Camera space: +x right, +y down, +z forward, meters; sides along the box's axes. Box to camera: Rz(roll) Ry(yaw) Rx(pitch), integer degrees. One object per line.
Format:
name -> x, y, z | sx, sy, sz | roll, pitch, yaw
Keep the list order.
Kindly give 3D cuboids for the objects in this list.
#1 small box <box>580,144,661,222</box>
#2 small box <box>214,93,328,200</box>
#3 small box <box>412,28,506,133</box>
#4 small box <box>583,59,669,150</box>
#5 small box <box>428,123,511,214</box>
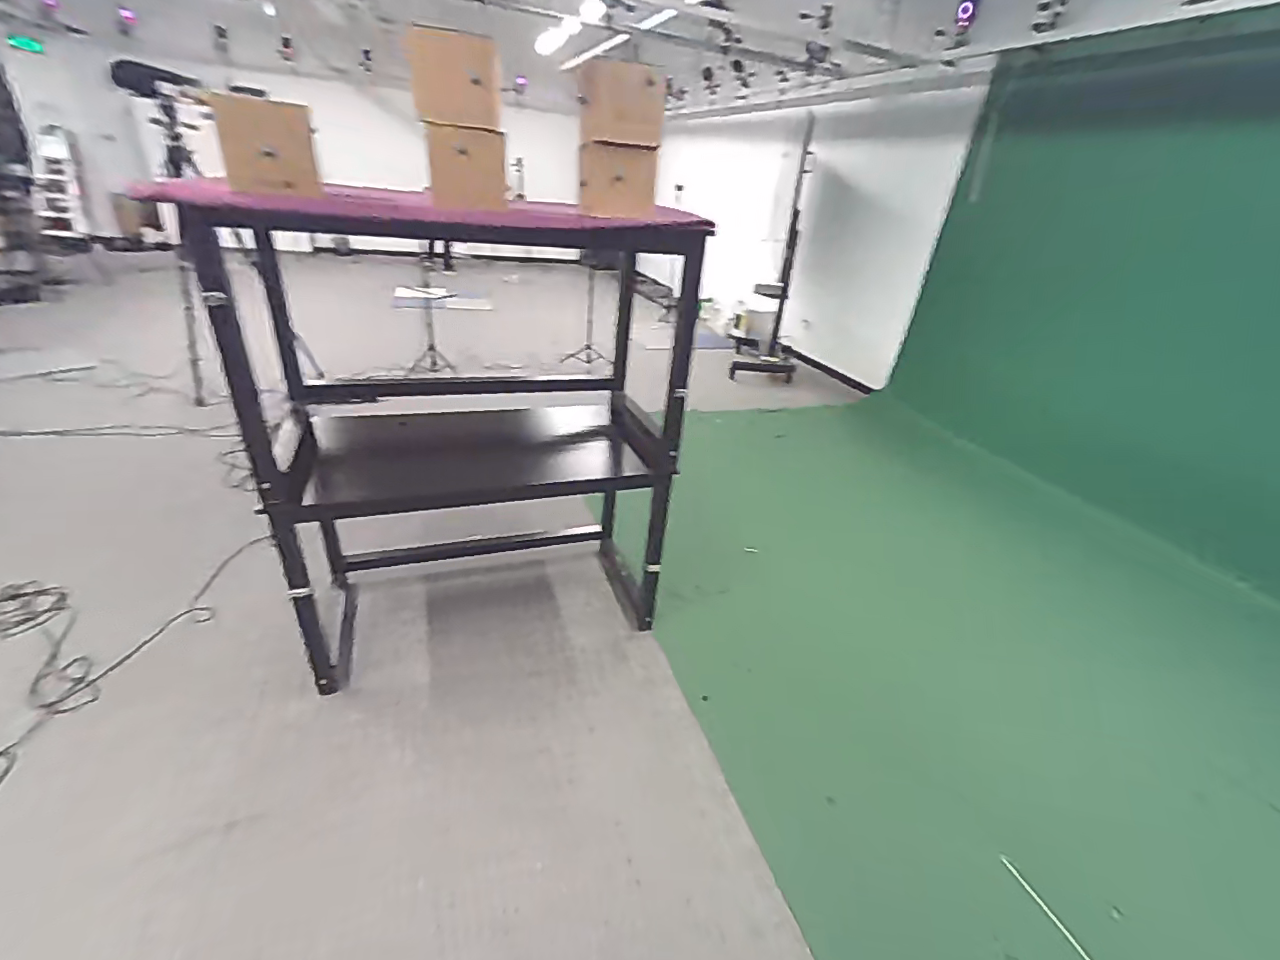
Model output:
small box -> -0.055, -0.779, 1.432 | 0.179, 0.176, 0.168 | -7, 29, -19
small box -> -0.763, -0.688, 1.125 | 0.168, 0.176, 0.179 | -11, 34, -31
small box -> -0.395, -0.880, 1.214 | 0.179, 0.176, 0.168 | 0, 29, -10
small box -> -0.040, -0.919, 1.347 | 0.179, 0.176, 0.168 | -6, 29, -19
small box -> -0.407, -0.740, 1.295 | 0.179, 0.176, 0.168 | -4, 31, -20
